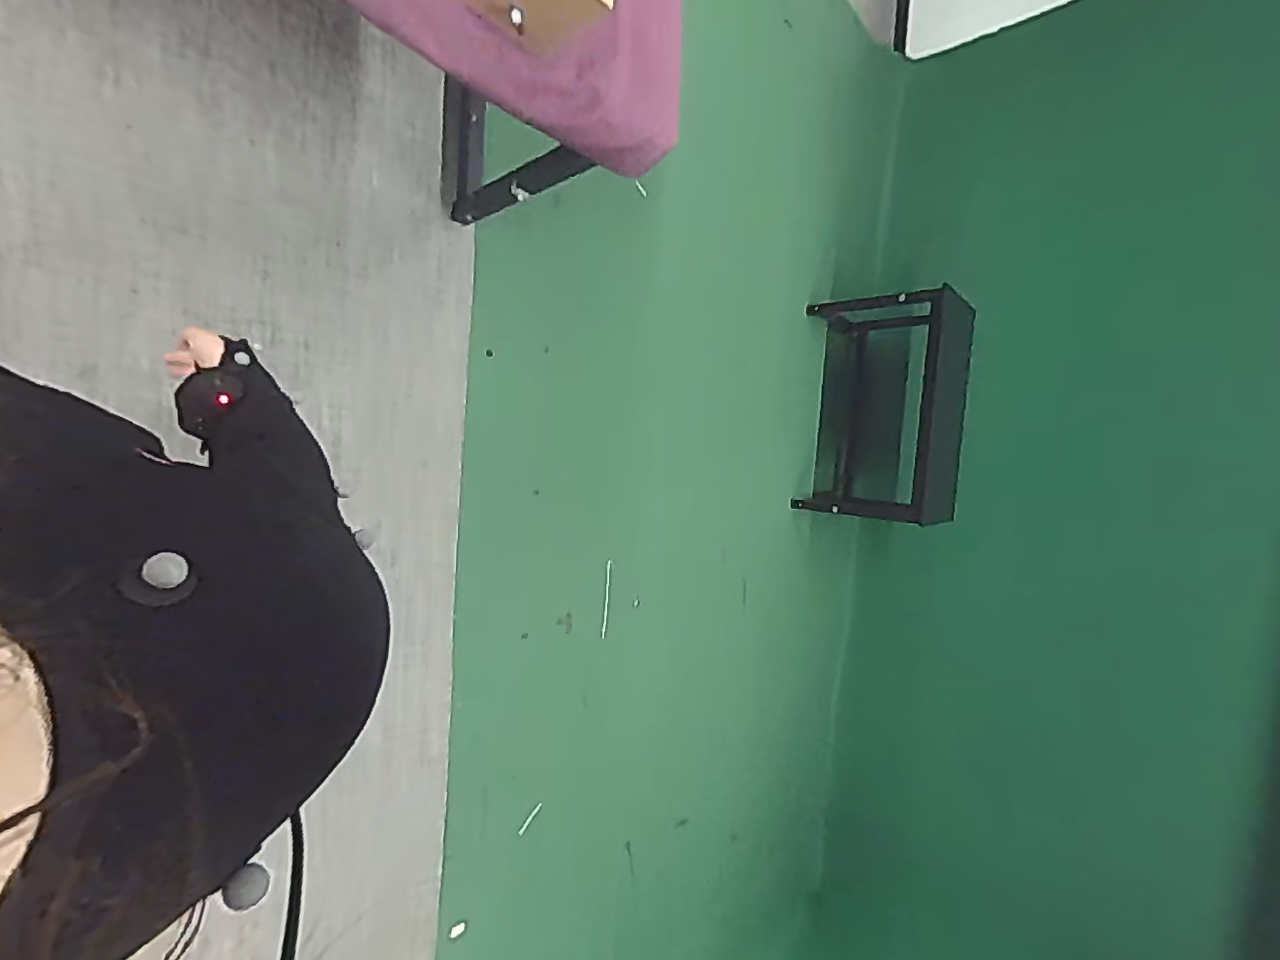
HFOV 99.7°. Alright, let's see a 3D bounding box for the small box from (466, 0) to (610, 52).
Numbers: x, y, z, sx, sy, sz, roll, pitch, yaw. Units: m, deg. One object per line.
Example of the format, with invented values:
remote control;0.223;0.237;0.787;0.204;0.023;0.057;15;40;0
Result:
small box;-0.153;-0.782;0.778;0.168;0.176;0.179;1;95;-47
